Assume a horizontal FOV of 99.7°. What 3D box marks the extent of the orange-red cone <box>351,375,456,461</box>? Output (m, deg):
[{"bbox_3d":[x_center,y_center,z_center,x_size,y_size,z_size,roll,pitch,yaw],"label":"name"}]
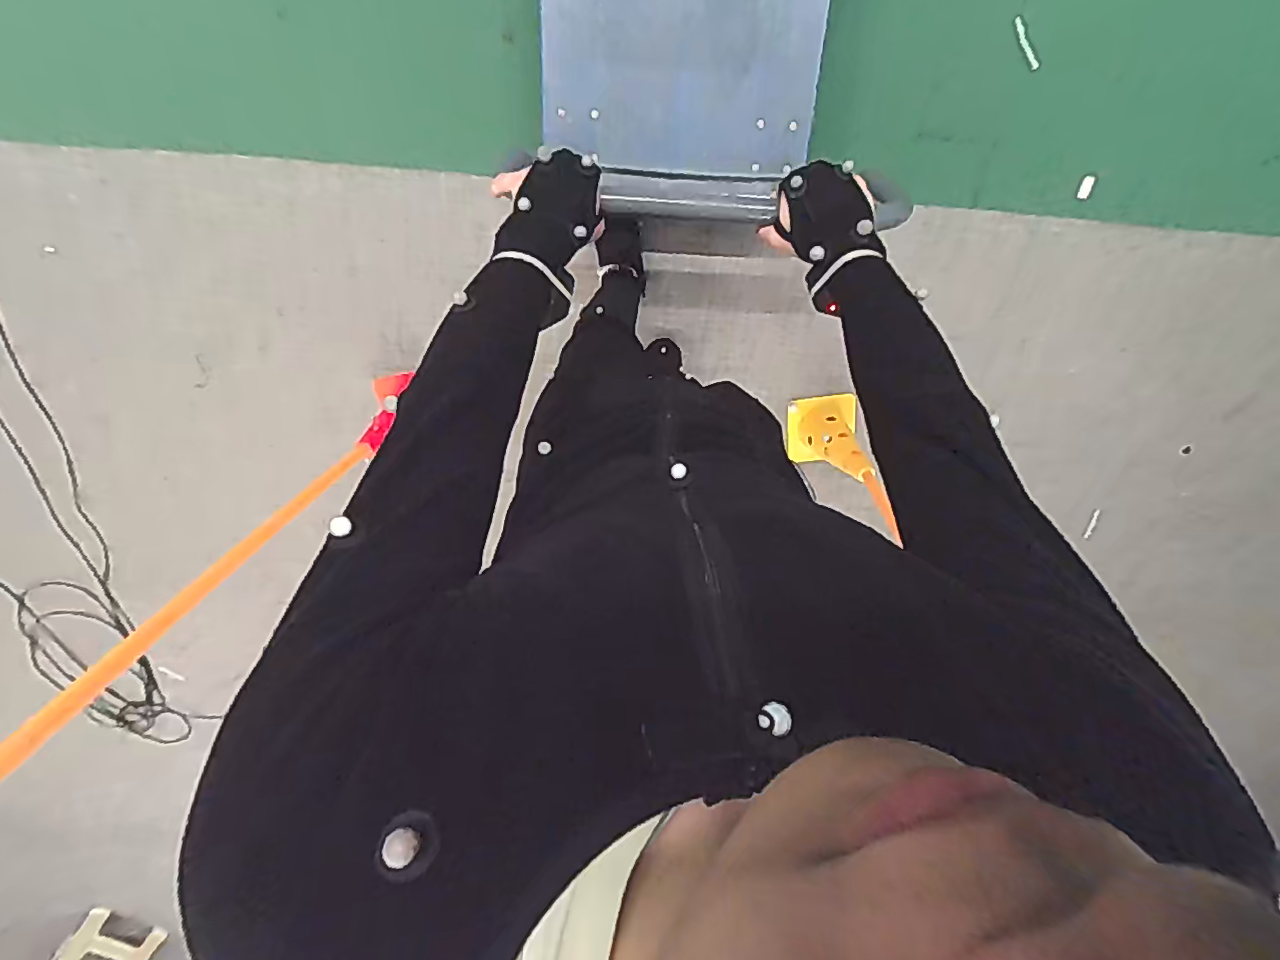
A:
[{"bbox_3d":[-0.647,-0.128,1.402,0.199,0.360,0.198,-10,113,5],"label":"orange-red cone"}]
